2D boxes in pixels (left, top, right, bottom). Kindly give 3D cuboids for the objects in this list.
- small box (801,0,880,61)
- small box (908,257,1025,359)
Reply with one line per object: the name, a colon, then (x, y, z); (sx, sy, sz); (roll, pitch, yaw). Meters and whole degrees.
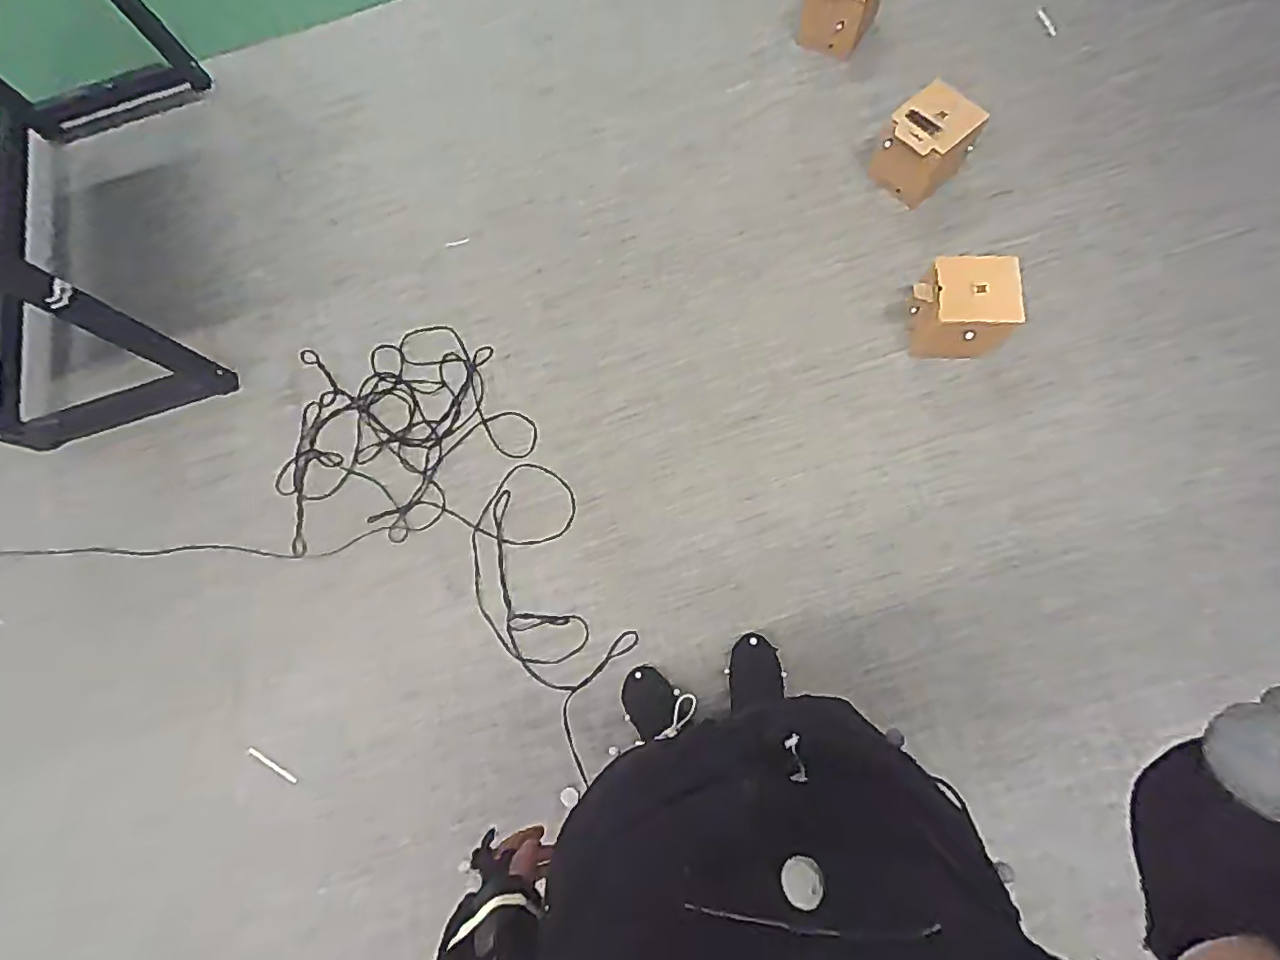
small box: (0.569, -1.330, 1.512); (0.168, 0.176, 0.179); (29, 79, 11)
small box: (0.747, -0.392, 1.254); (0.179, 0.176, 0.168); (3, 76, 7)
